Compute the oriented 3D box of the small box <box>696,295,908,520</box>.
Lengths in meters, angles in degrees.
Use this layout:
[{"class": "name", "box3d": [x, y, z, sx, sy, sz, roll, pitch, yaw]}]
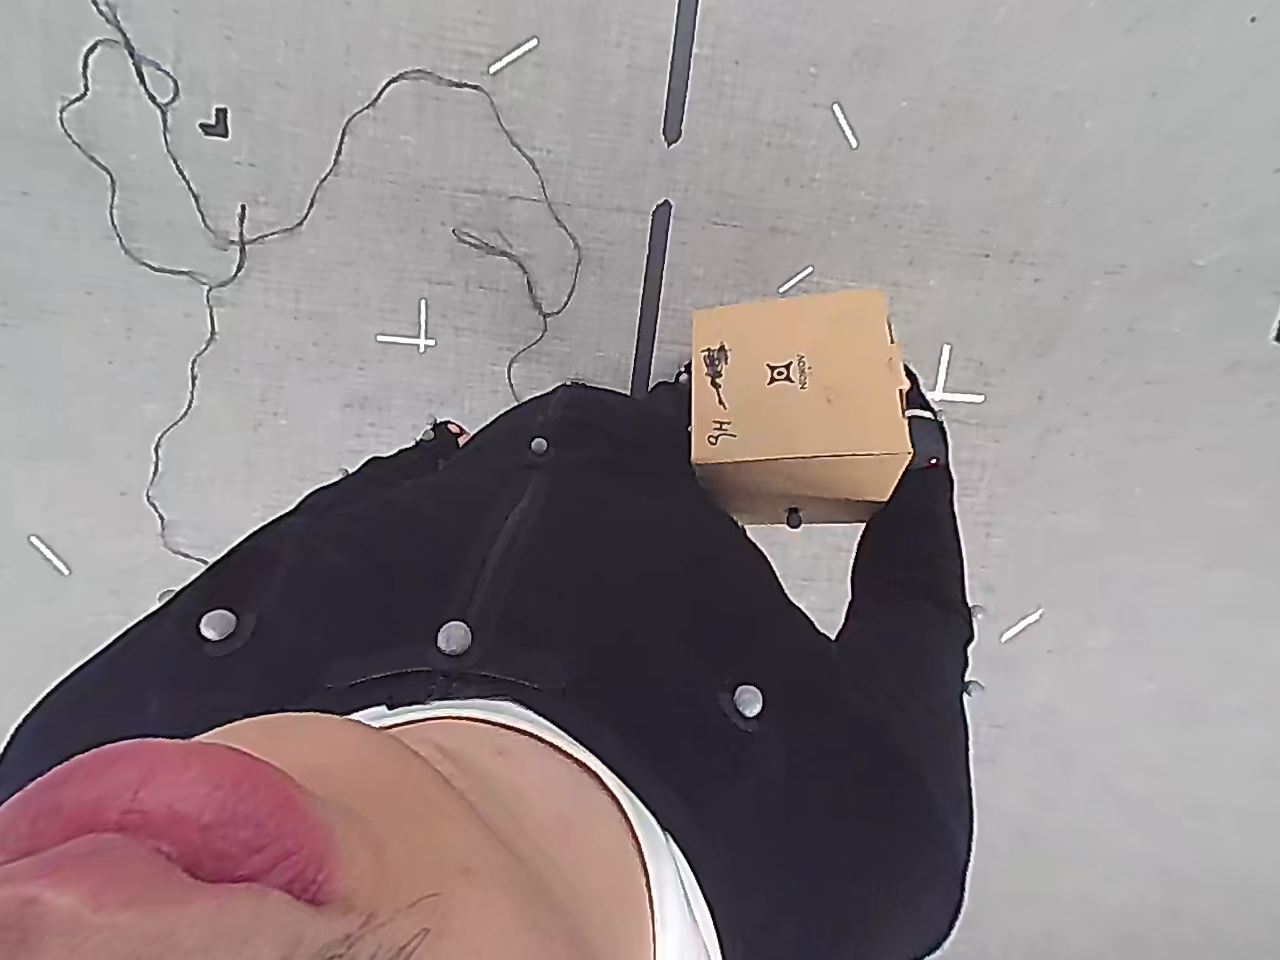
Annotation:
[{"class": "small box", "box3d": [0.154, -0.062, 0.558, 0.179, 0.176, 0.168, -2, 65, 12]}]
